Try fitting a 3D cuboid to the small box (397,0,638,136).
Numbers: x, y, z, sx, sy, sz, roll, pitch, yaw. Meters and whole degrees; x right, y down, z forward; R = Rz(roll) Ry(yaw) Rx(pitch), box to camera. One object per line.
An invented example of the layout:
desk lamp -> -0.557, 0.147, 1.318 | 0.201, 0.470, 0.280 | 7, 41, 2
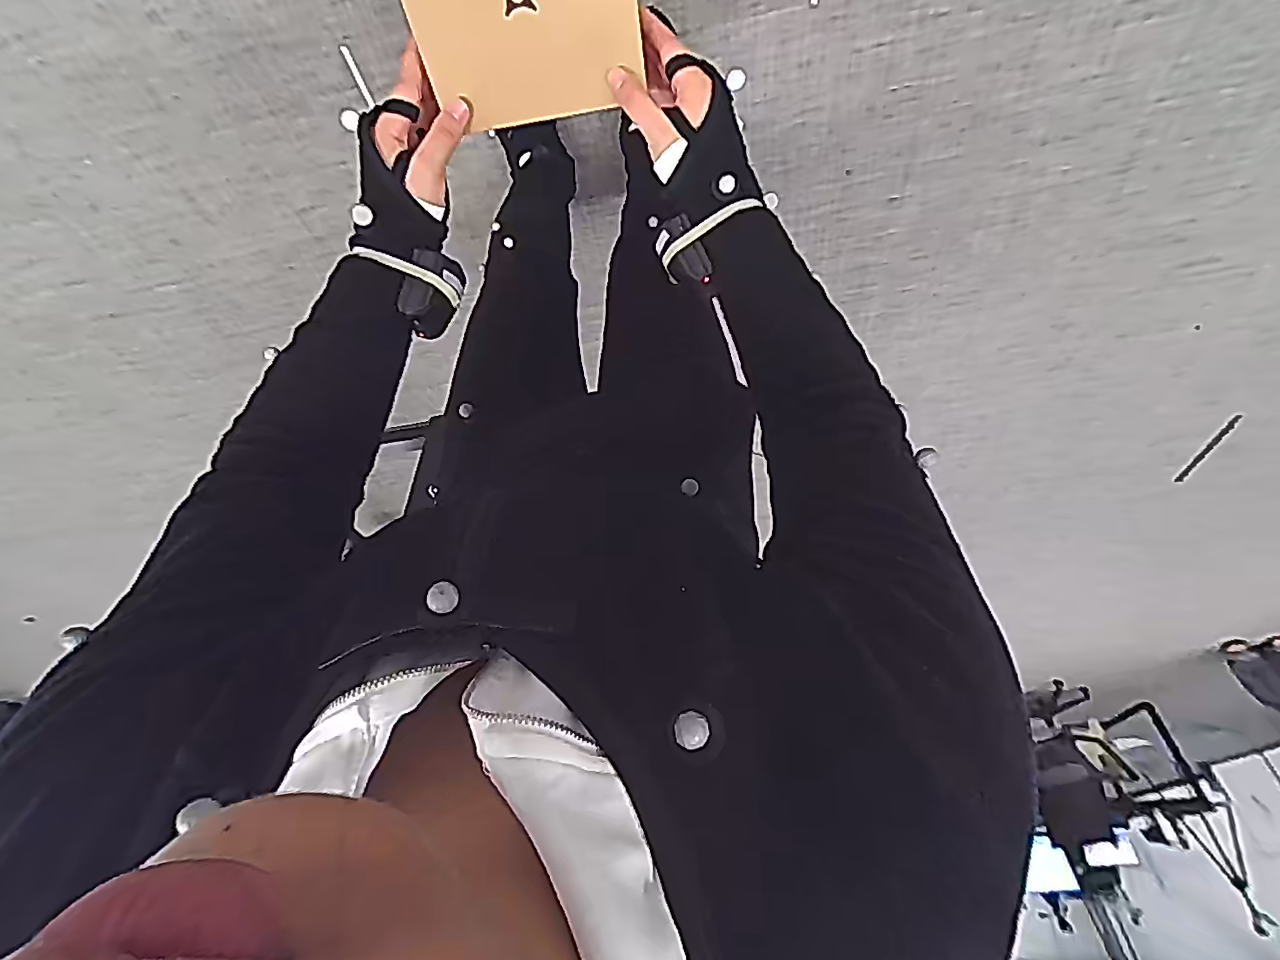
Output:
small box -> -0.094, -0.408, 0.427 | 0.168, 0.176, 0.179 | -8, 138, 4
